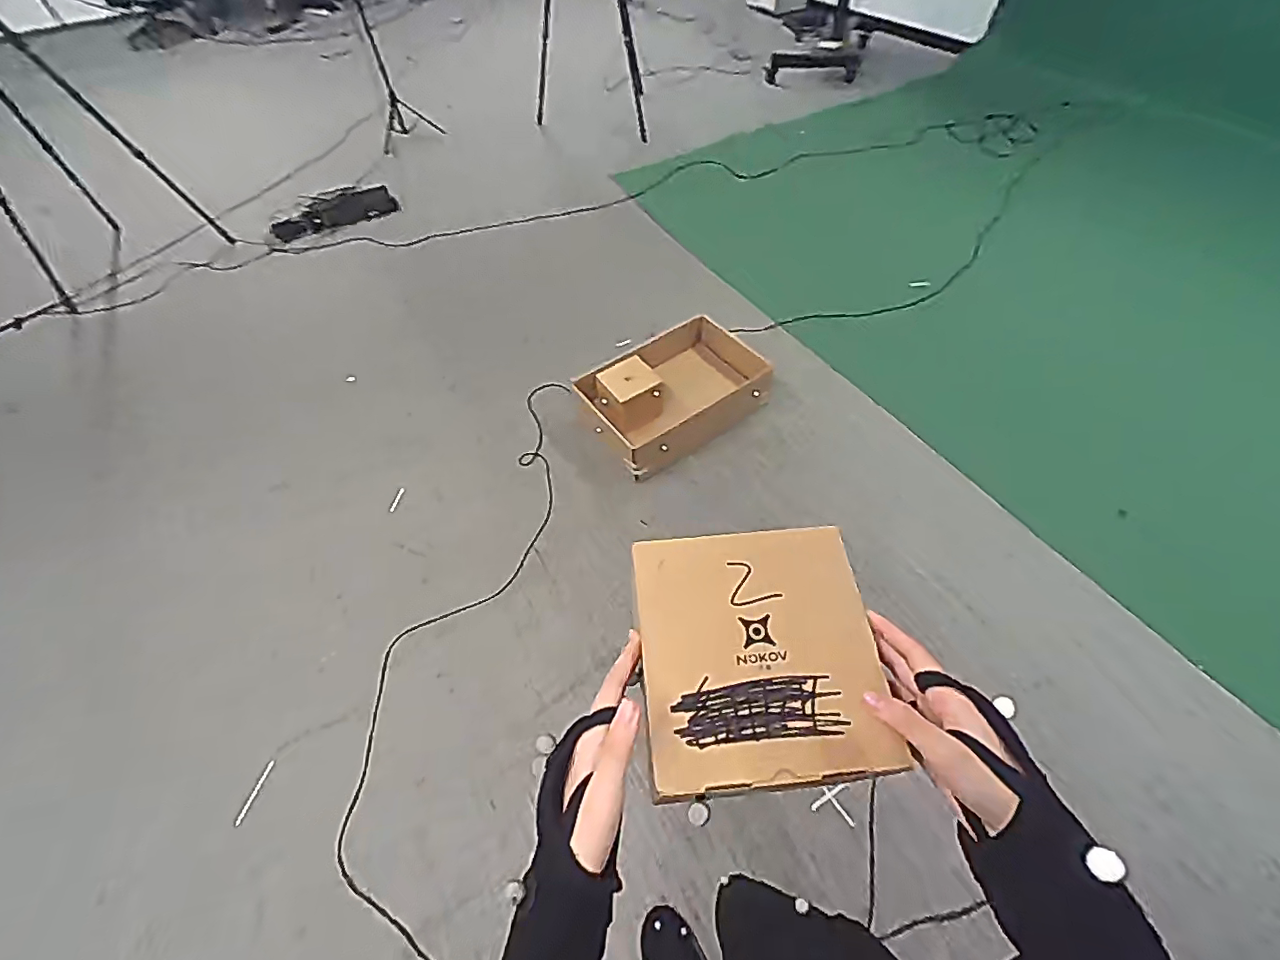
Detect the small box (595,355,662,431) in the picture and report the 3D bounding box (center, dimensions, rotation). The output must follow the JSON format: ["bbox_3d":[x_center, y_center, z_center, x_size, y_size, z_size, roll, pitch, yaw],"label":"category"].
[{"bbox_3d":[-0.035,-0.303,1.911,0.179,0.176,0.168,-31,59,-19],"label":"small box"}]
